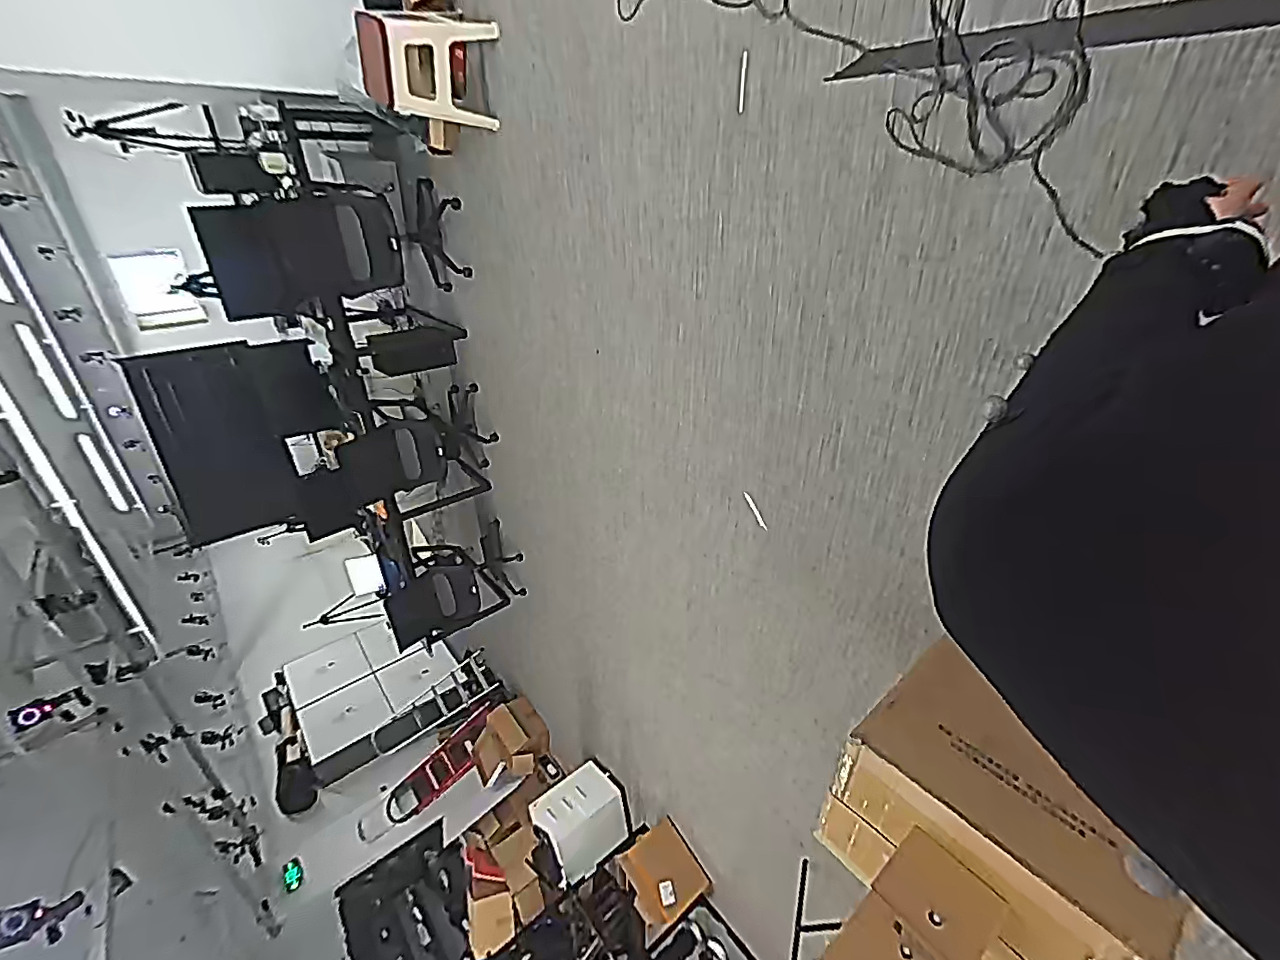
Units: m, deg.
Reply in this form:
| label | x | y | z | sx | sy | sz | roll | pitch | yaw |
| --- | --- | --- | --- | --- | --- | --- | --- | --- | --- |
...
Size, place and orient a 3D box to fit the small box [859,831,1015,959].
| label | x | y | z | sx | sy | sz | roll | pitch | yaw |
| --- | --- | --- | --- | --- | --- | --- | --- | --- | --- |
| small box | 0.536 | 0.794 | 0.980 | 0.179 | 0.176 | 0.168 | 33 | 133 | 42 |
